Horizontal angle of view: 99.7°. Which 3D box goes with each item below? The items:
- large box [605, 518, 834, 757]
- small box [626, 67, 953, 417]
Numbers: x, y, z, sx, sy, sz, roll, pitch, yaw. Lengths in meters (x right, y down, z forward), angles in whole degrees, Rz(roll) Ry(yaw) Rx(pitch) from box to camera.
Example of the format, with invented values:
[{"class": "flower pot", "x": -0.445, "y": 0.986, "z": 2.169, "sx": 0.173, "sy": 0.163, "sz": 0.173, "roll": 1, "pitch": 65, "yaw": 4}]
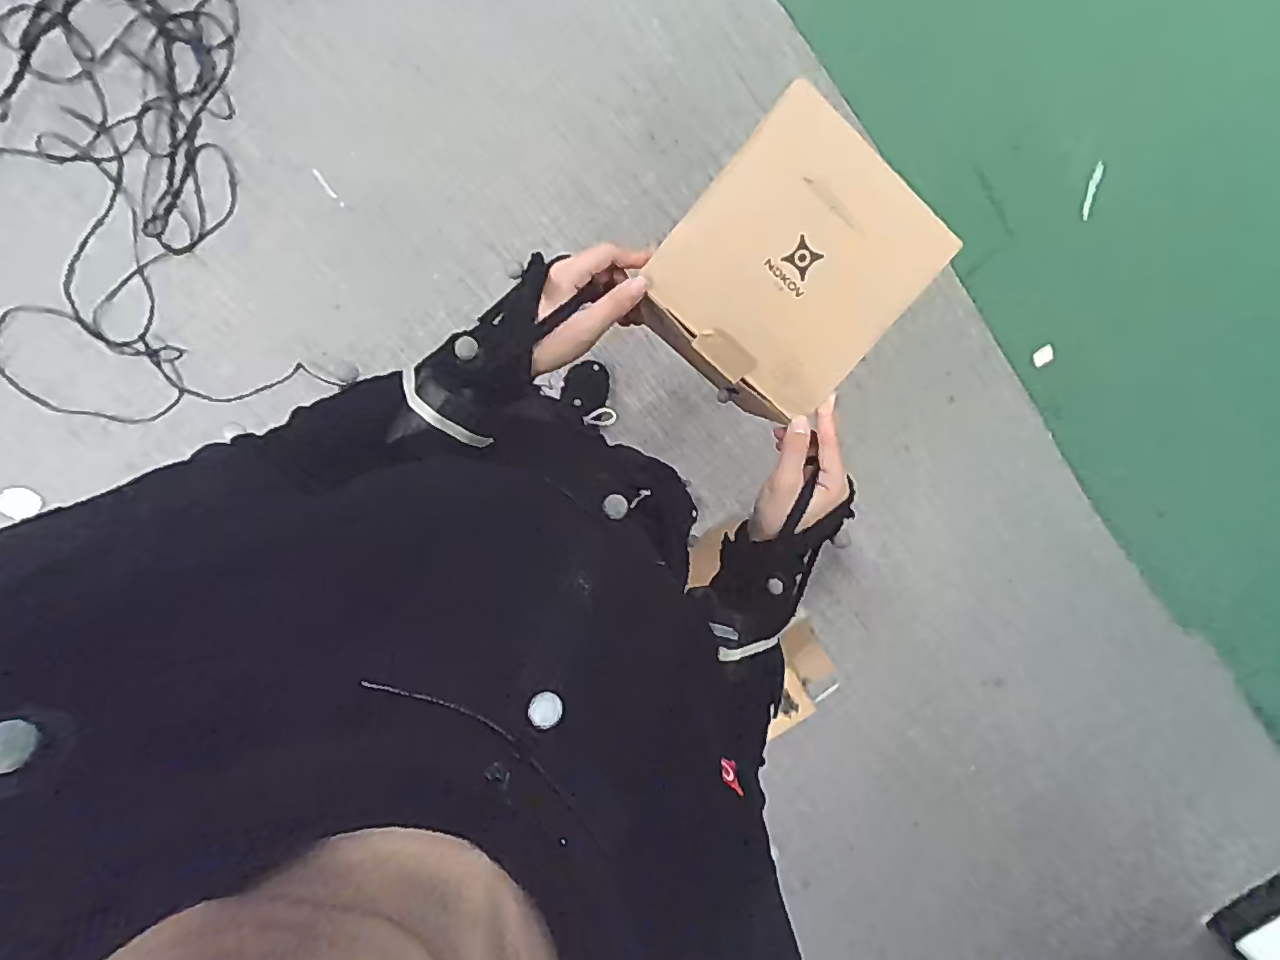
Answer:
[{"class": "large box", "x": 0.171, "y": 0.355, "z": 1.295, "sx": 0.408, "sy": 0.320, "sz": 0.320, "roll": -34, "pitch": 100, "yaw": 8}, {"class": "small box", "x": 0.104, "y": -0.175, "z": 0.458, "sx": 0.168, "sy": 0.176, "sz": 0.179, "roll": 38, "pitch": 97, "yaw": -10}]
